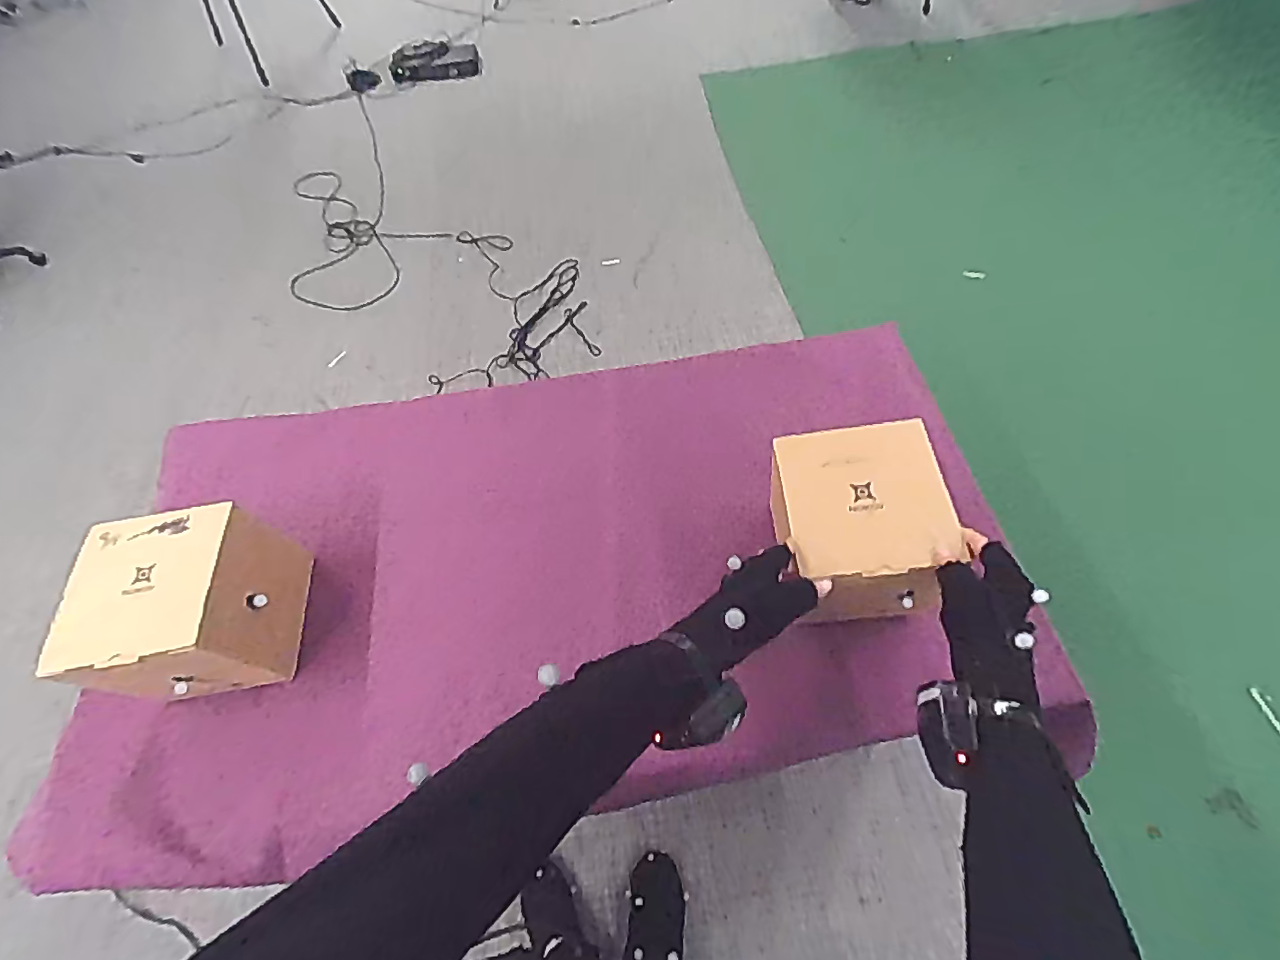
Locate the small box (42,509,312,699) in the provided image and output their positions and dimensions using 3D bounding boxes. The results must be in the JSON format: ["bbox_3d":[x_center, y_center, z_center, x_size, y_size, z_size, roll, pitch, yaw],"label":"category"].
[{"bbox_3d":[-0.535,0.159,0.660,0.168,0.176,0.179,-10,59,-2],"label":"small box"}]

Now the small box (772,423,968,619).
[{"bbox_3d":[0.252,0.060,0.641,0.168,0.176,0.179,-7,59,8],"label":"small box"}]
